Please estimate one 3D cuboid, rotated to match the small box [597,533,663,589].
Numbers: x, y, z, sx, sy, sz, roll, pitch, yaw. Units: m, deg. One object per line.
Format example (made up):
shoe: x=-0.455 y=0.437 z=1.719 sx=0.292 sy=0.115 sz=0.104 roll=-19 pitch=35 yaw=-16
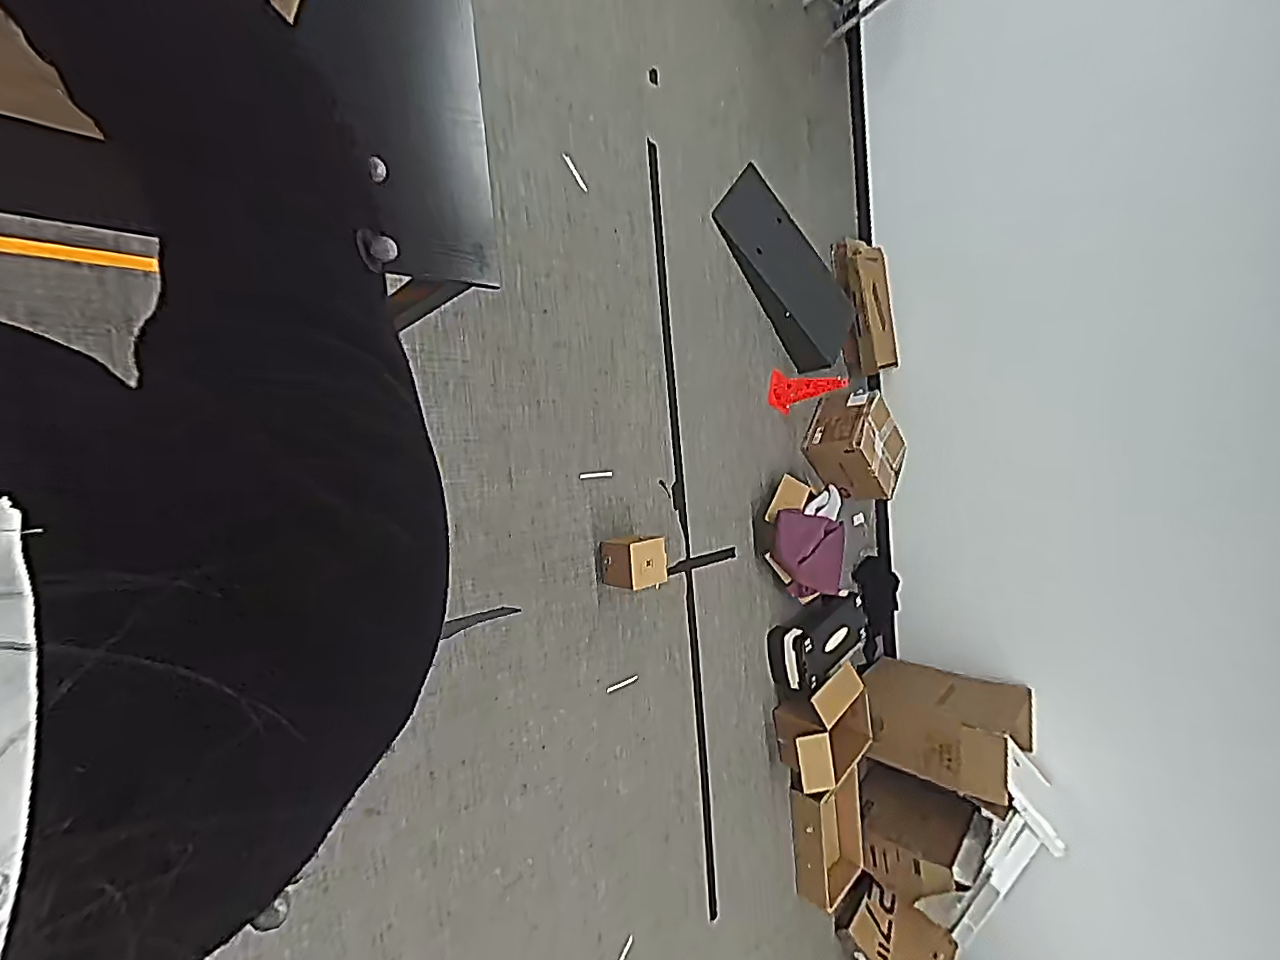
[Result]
small box: x=-0.037 y=0.291 z=1.985 sx=0.179 sy=0.176 sz=0.168 roll=-7 pitch=93 yaw=-43
